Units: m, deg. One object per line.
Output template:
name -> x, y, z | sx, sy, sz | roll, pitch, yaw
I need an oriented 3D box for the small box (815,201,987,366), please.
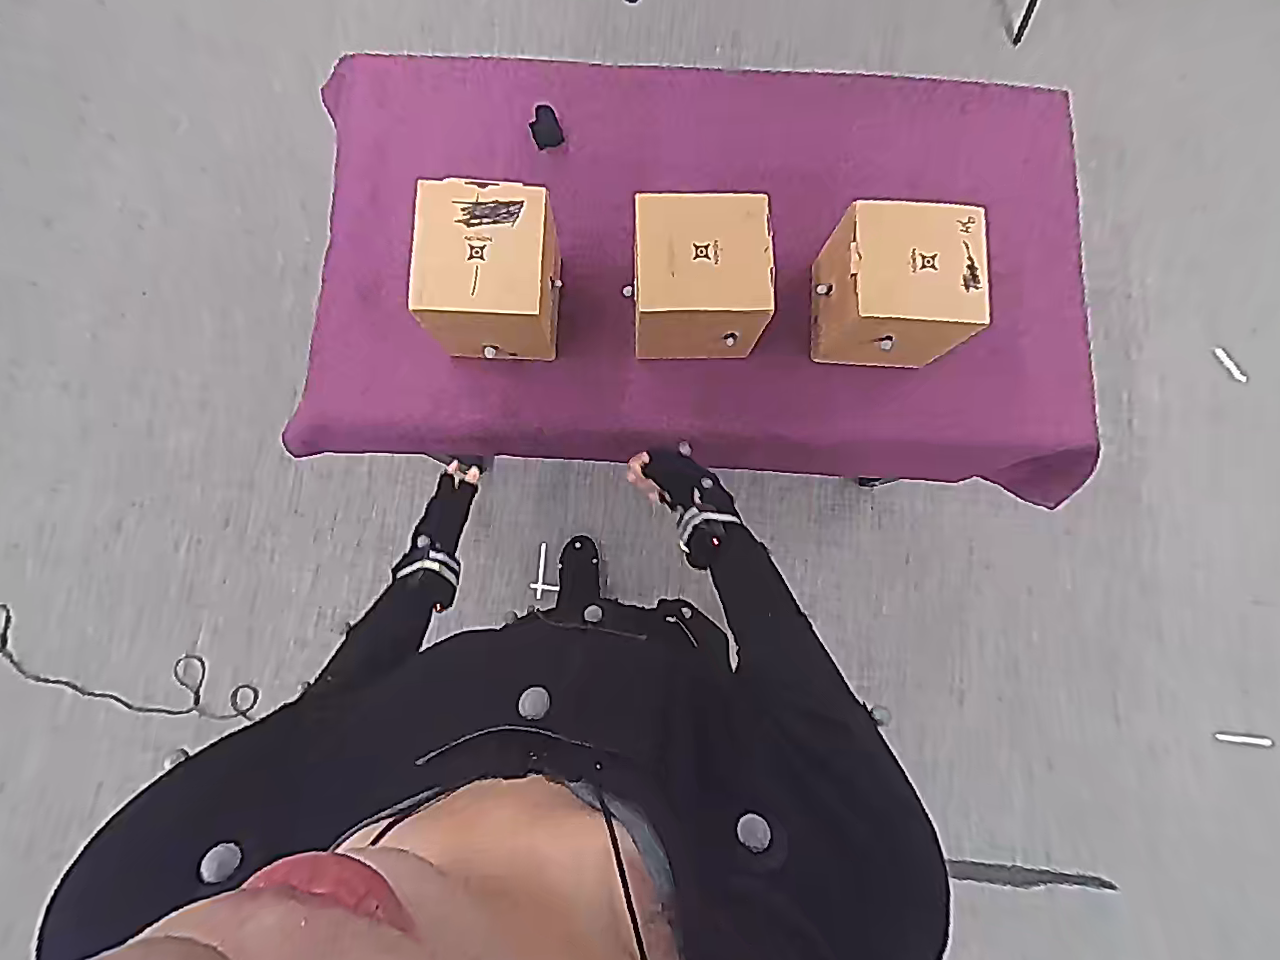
small box -> 0.361, -0.273, 0.781 | 0.179, 0.176, 0.168 | 3, 82, 0

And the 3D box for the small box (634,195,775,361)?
small box -> 0.082, -0.279, 0.775 | 0.179, 0.176, 0.168 | -2, 80, -1
